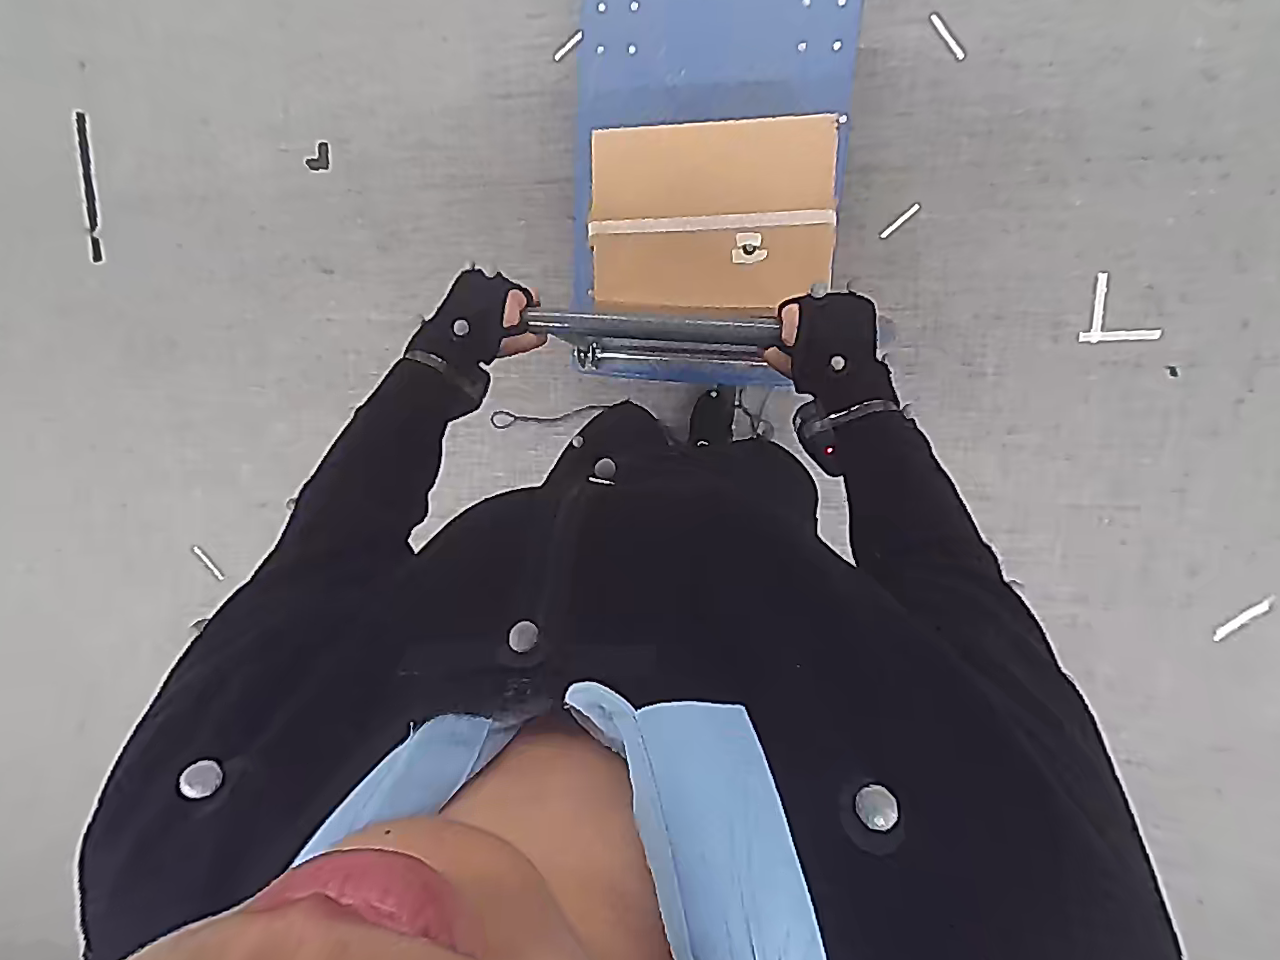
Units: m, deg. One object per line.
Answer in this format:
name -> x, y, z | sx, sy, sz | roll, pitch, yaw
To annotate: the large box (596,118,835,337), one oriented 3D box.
large box -> 0.139, -0.463, 1.073 | 0.408, 0.320, 0.320 | 1, 100, 7
